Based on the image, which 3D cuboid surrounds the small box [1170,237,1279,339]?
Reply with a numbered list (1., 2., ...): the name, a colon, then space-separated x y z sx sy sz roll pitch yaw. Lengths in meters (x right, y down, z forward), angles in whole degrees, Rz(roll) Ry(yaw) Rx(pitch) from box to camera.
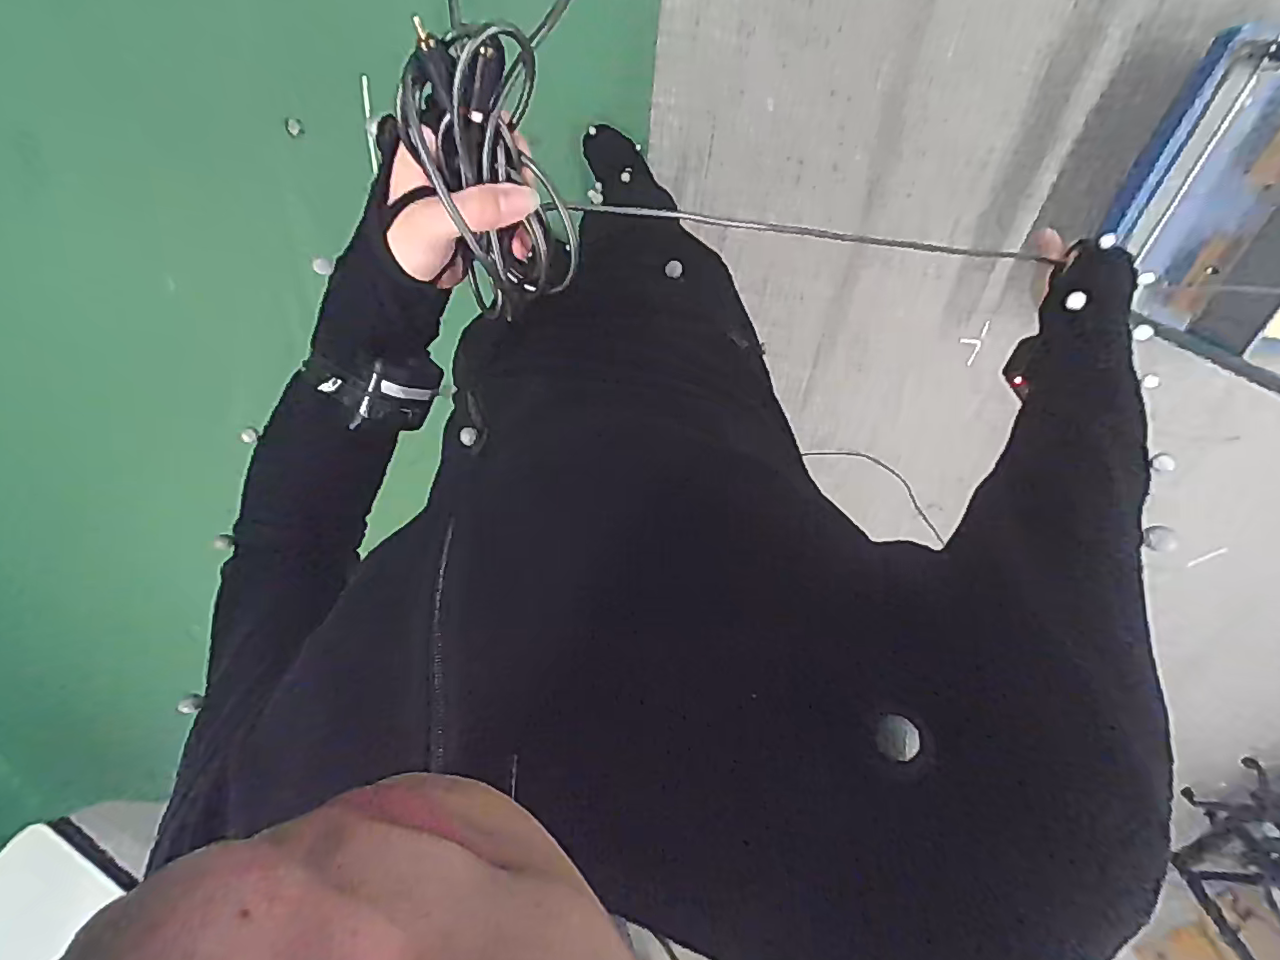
1. small box: 1.372 -0.430 1.203 0.179 0.176 0.168 9 124 -4
